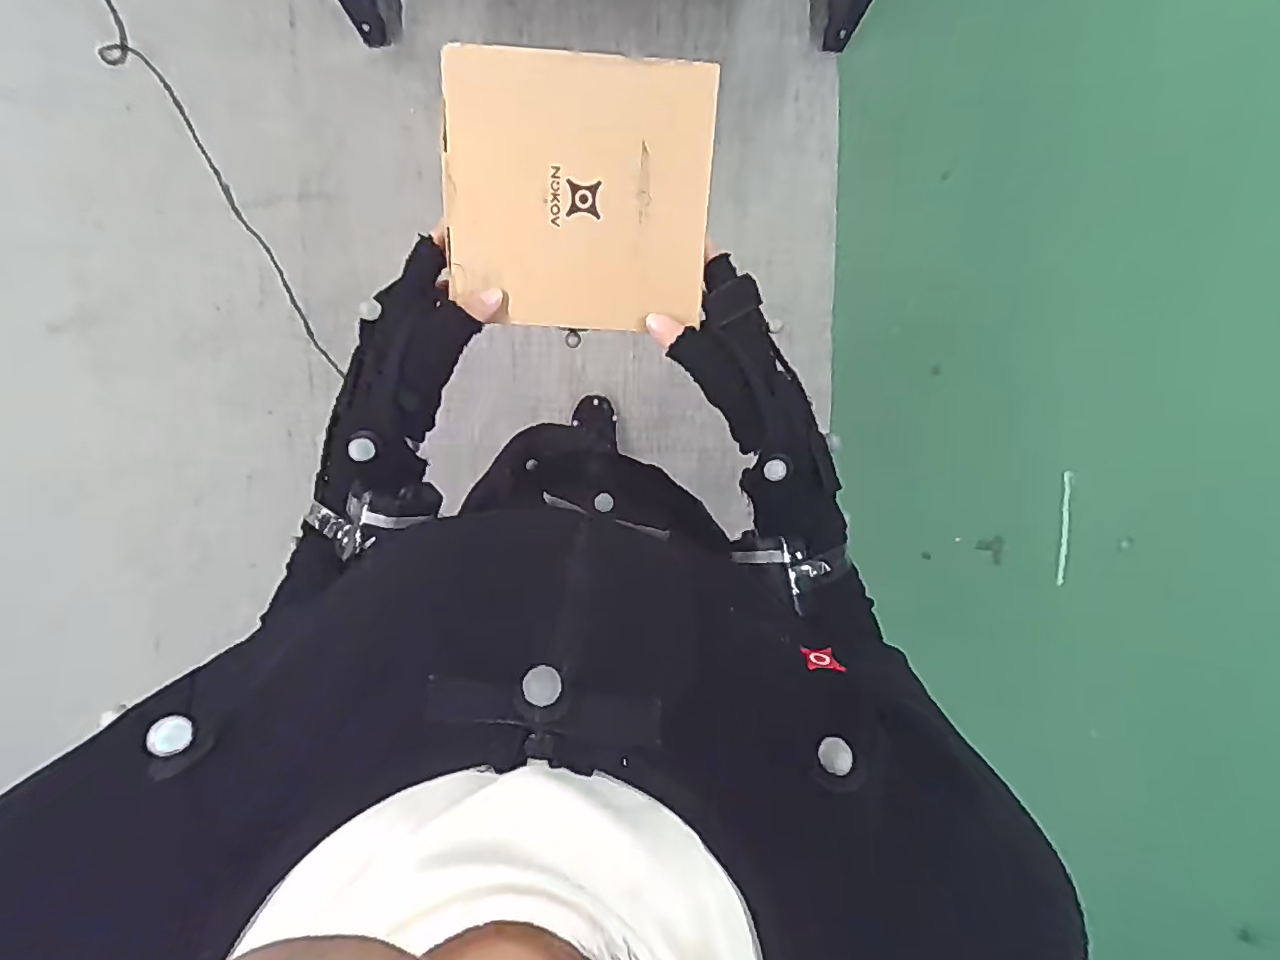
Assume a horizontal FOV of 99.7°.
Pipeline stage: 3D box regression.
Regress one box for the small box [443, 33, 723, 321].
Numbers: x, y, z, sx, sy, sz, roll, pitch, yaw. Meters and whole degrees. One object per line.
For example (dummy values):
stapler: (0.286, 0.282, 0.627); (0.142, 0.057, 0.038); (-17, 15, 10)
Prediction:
small box: (-0.039, -0.216, 0.432); (0.179, 0.176, 0.168); (1, 107, -2)
